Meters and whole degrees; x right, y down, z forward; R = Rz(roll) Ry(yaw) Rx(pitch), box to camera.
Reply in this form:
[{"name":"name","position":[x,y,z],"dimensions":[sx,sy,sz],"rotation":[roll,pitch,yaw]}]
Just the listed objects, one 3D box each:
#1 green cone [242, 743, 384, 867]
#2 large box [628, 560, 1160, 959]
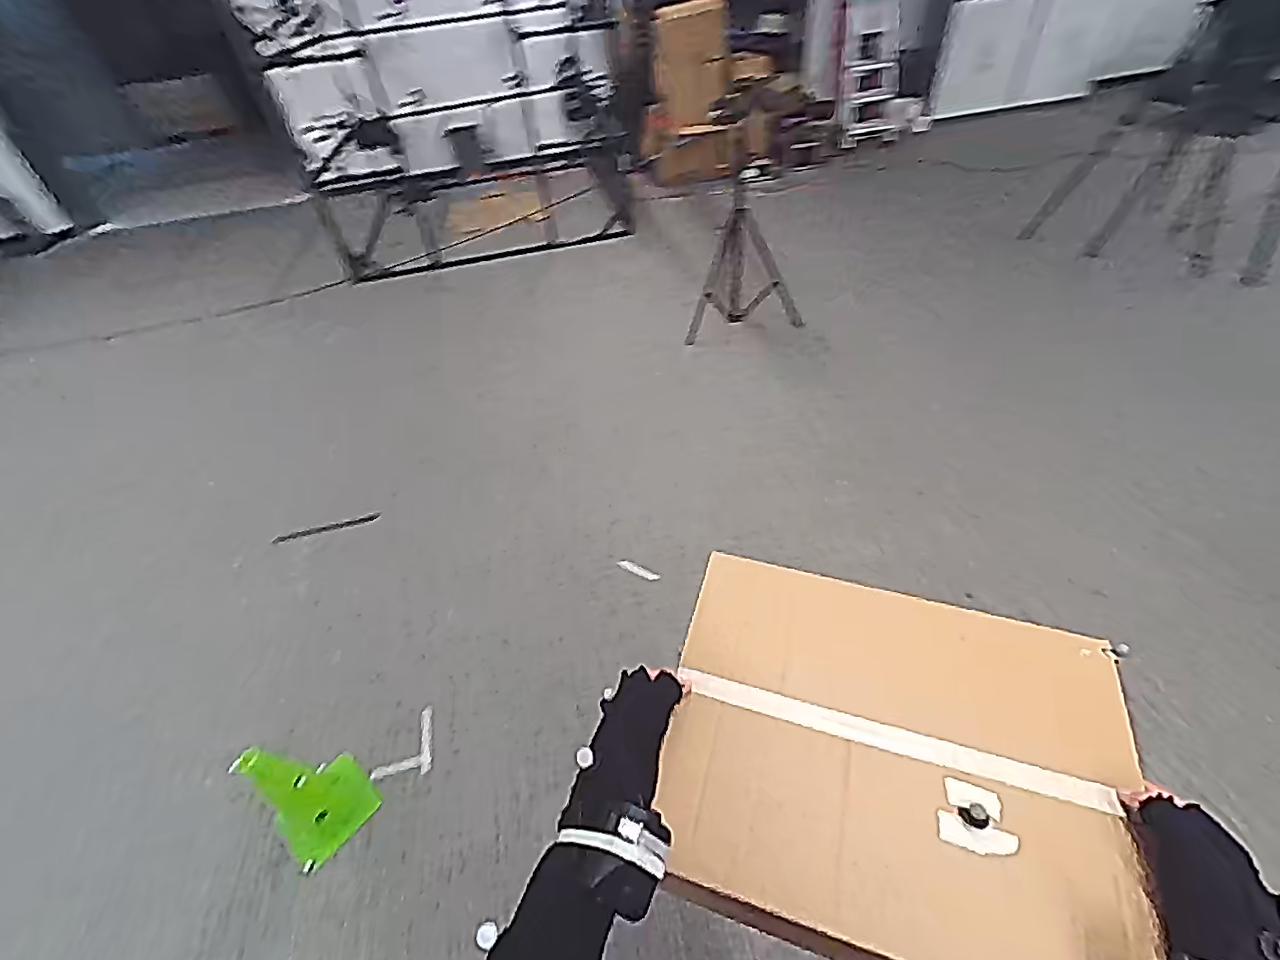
[{"name":"green cone","position":[-0.797,0.707,1.263],"dimensions":[0.202,0.368,0.200],"rotation":[26,52,32]},{"name":"large box","position":[0.226,0.335,0.615],"dimensions":[0.408,0.320,0.320],"rotation":[11,51,14]}]
